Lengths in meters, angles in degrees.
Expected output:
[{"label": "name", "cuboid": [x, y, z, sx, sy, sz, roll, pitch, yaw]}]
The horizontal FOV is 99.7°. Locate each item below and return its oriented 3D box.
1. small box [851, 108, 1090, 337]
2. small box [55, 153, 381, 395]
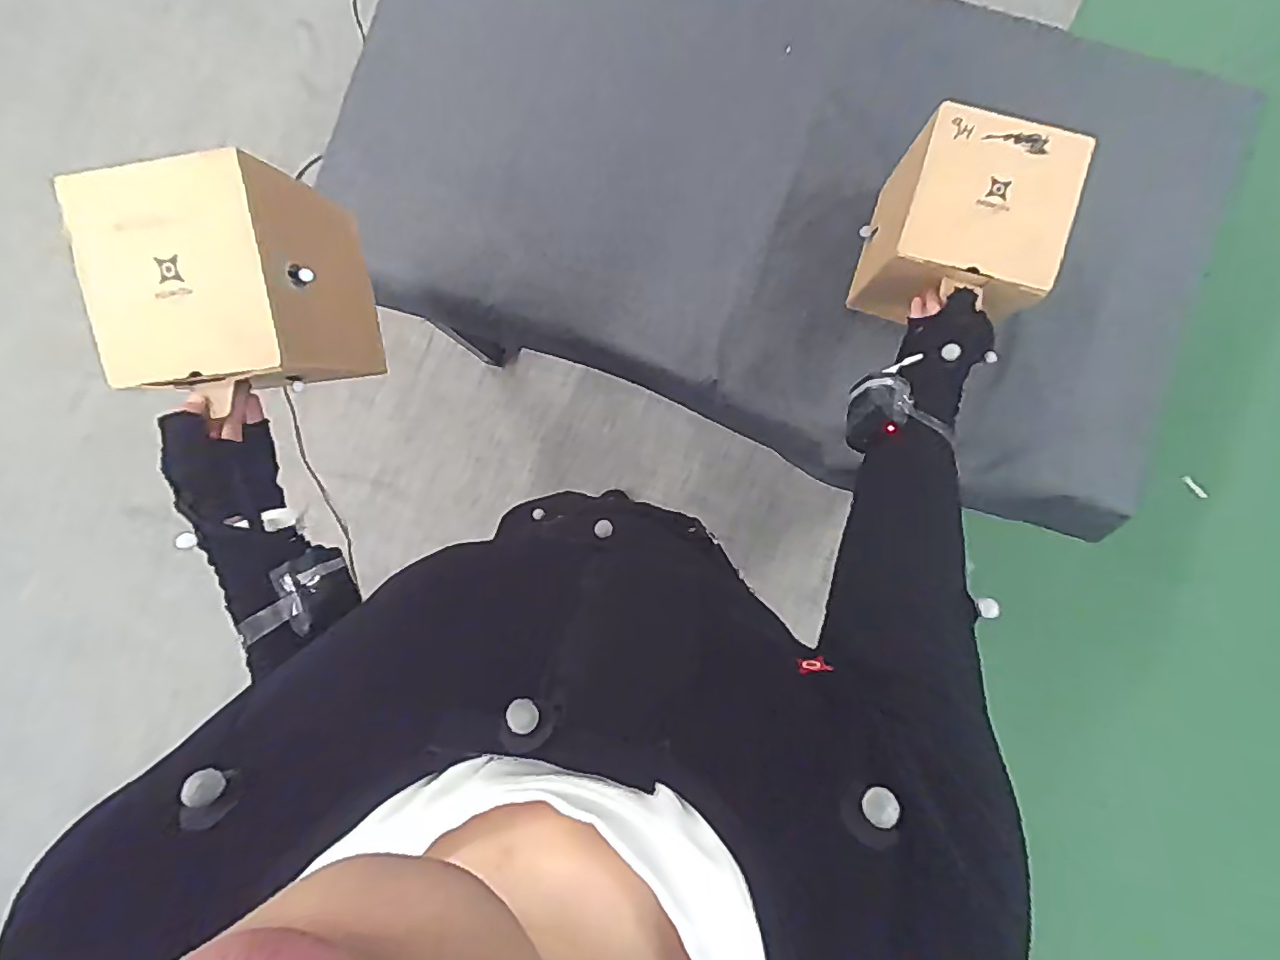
[{"label": "small box", "cuboid": [0.377, -0.292, 0.655, 0.168, 0.176, 0.179, 18, 90, 3]}, {"label": "small box", "cuboid": [-0.379, -0.180, 0.523, 0.168, 0.176, 0.179, -5, 99, 5]}]
